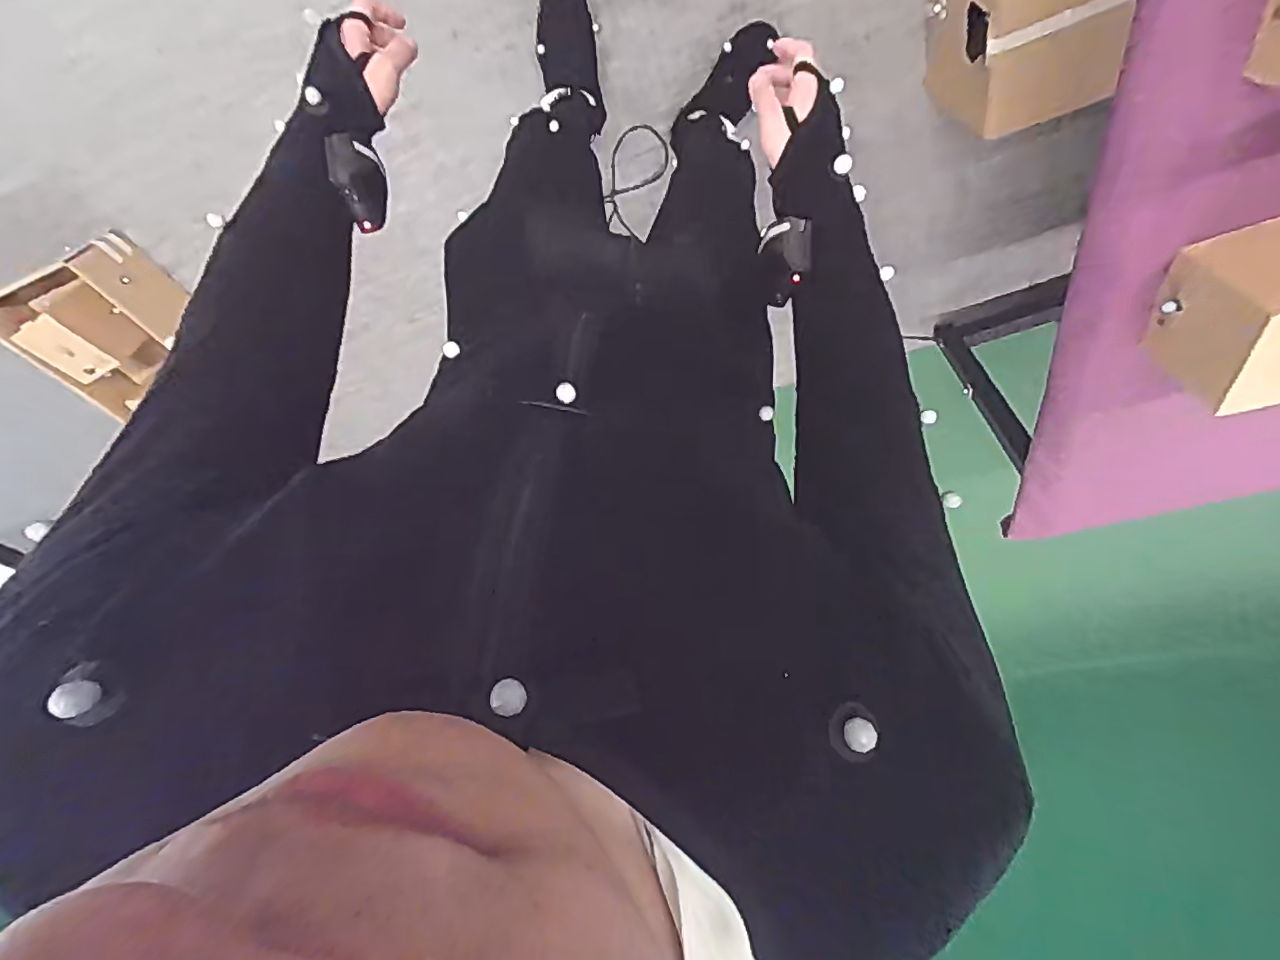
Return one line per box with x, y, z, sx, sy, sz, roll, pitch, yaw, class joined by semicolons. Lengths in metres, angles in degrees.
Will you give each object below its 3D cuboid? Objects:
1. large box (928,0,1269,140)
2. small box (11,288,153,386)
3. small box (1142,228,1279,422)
0.758;-0.872;0.925;0.408;0.320;0.320;-16;138;15;large box
-1.504;-0.395;1.469;0.168;0.176;0.179;-17;137;17;small box
0.810;-0.207;0.684;0.179;0.176;0.168;-14;137;14;small box
